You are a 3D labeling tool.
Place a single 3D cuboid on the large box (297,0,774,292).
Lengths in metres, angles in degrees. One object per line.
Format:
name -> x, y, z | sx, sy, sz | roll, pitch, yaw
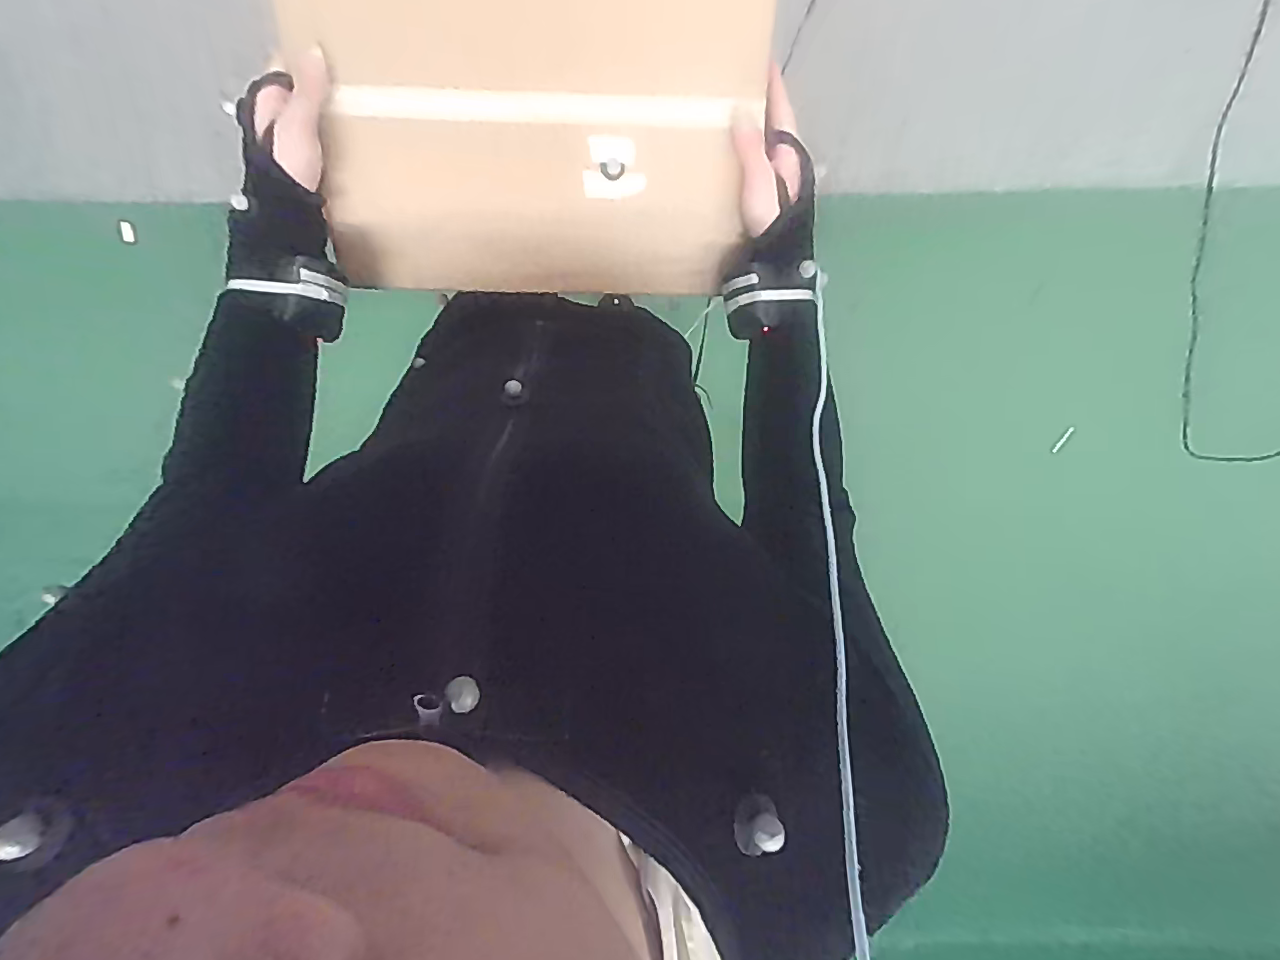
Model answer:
large box -> -0.096, -0.401, 0.620 | 0.408, 0.320, 0.320 | -1, 119, -4
